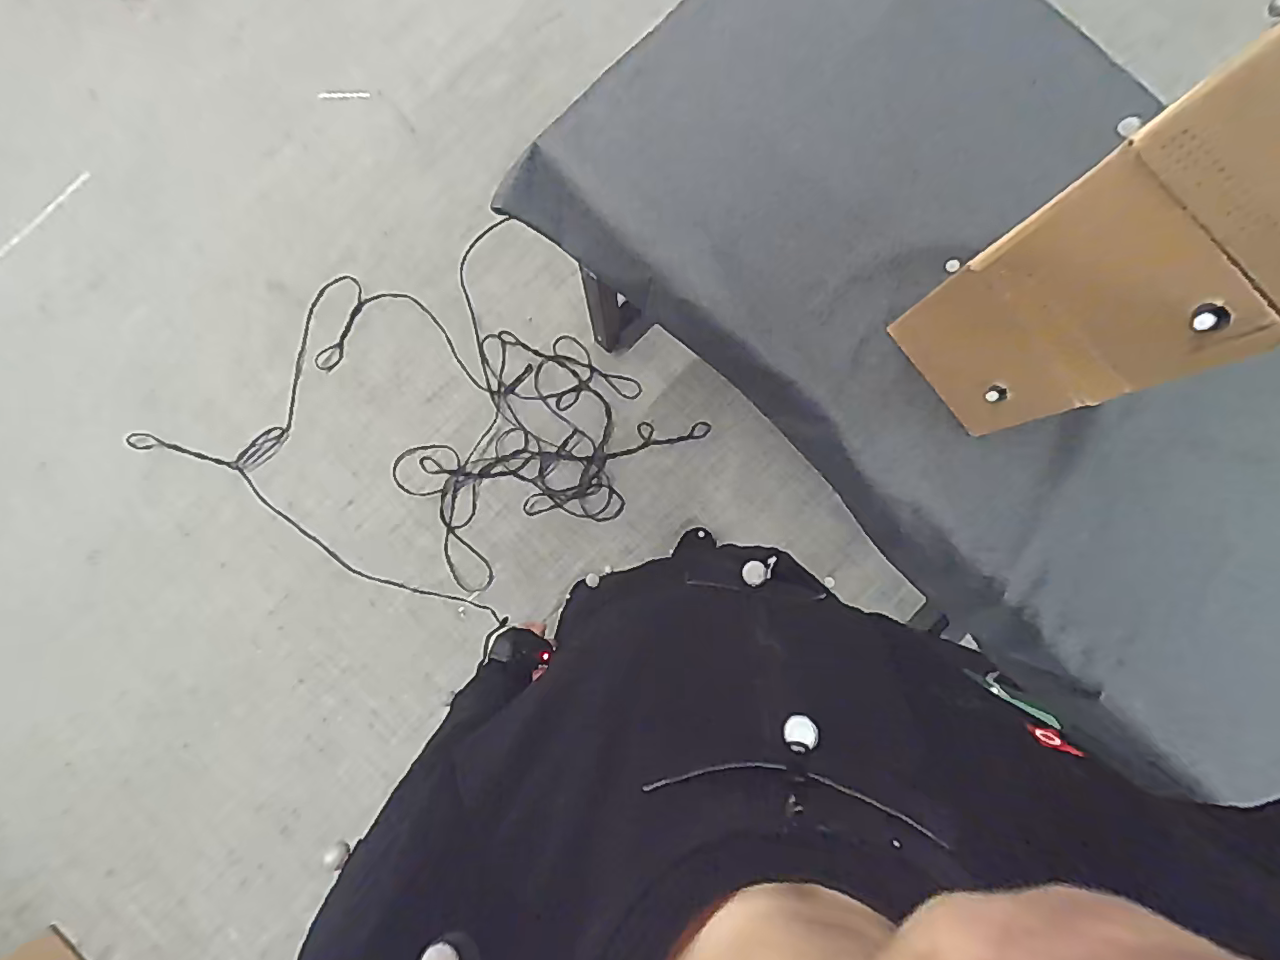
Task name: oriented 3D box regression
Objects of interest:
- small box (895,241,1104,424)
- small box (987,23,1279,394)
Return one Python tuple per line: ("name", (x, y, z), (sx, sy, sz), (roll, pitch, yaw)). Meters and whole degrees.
("small box", (0.430, -0.178, 0.598), (0.168, 0.176, 0.179), (-37, 85, -5))
("small box", (0.437, -0.197, 0.437), (0.168, 0.176, 0.179), (-37, 87, -5))
